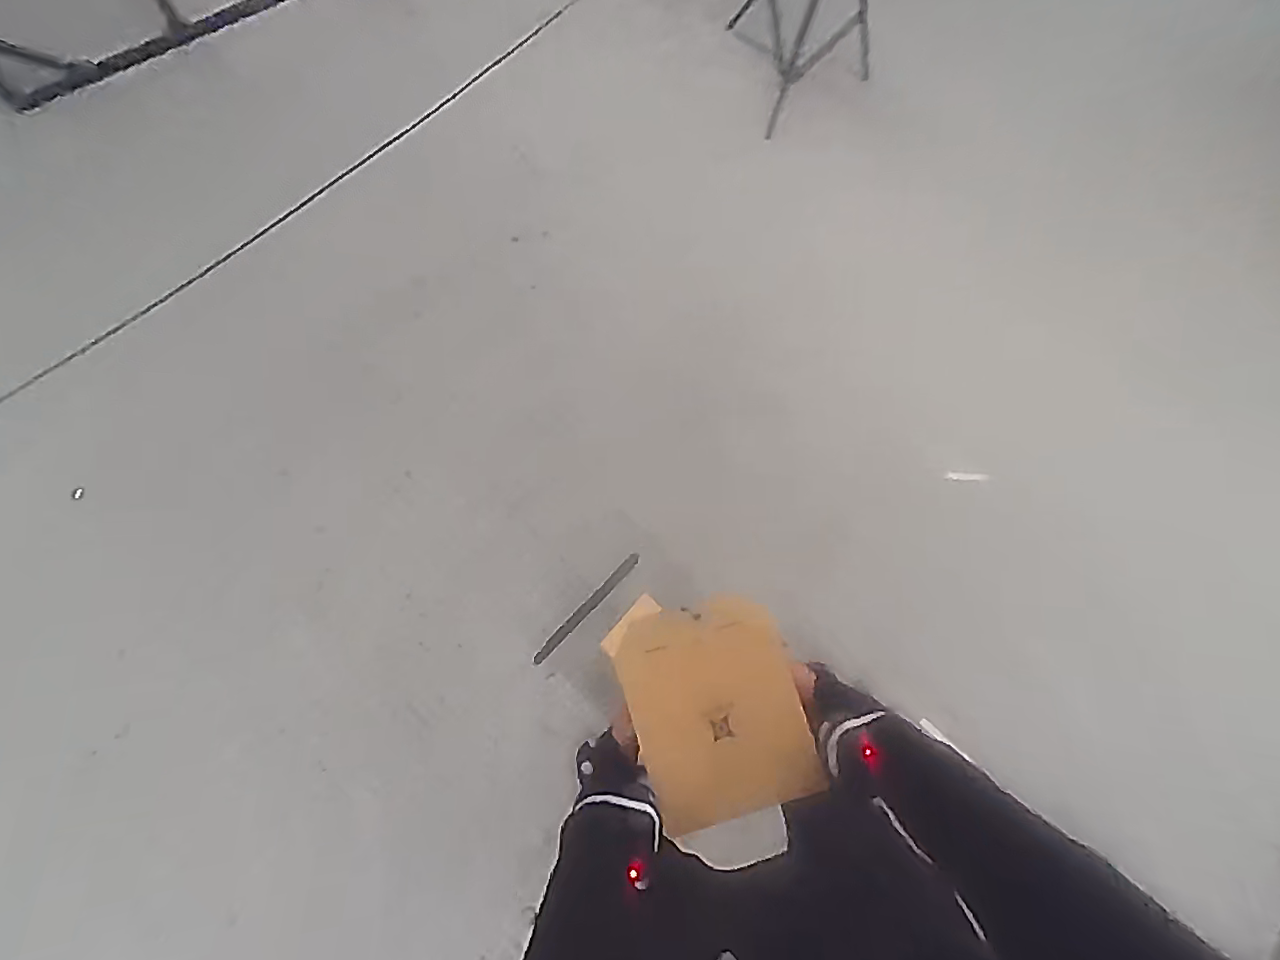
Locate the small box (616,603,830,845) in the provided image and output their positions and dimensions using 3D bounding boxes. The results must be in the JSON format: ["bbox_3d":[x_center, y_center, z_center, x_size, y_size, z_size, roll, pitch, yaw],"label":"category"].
[{"bbox_3d":[0.082,0.250,0.602,0.168,0.176,0.179,-19,82,-1],"label":"small box"}]
